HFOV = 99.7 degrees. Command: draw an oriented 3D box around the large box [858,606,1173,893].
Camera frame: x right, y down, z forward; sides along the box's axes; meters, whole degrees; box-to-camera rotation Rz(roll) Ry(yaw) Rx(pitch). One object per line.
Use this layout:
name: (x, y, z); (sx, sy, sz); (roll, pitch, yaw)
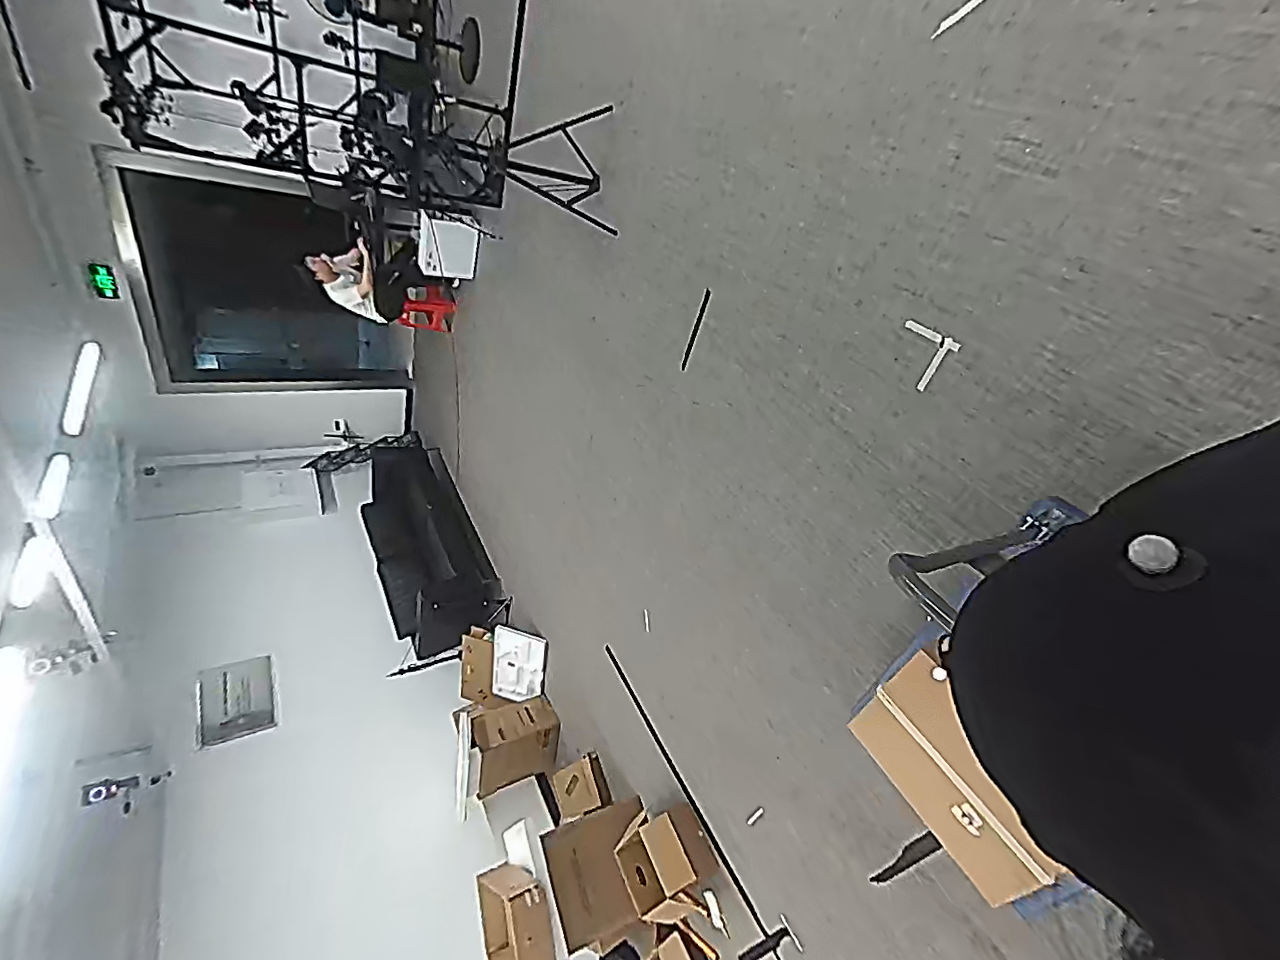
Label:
large box: (0.779, 0.548, 1.168); (0.408, 0.320, 0.320); (51, 136, 37)
